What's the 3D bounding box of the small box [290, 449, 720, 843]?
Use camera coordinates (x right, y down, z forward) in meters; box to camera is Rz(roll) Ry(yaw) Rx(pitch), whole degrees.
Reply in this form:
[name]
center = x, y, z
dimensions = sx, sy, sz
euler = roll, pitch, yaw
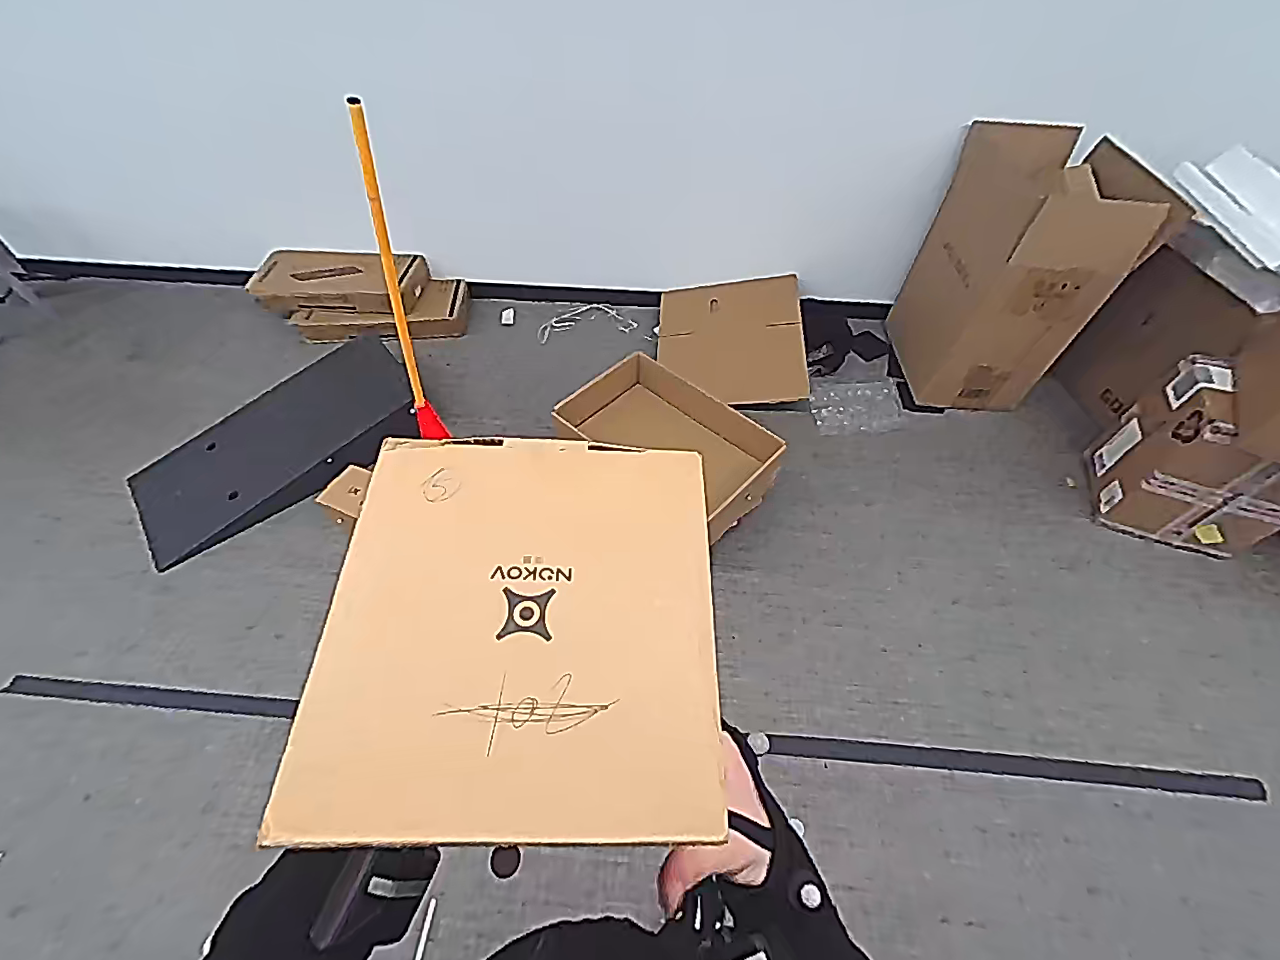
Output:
[small box]
center = -0.055, 0.104, 0.315
dimensions = 0.168, 0.176, 0.179
euler = 3, 58, -3
